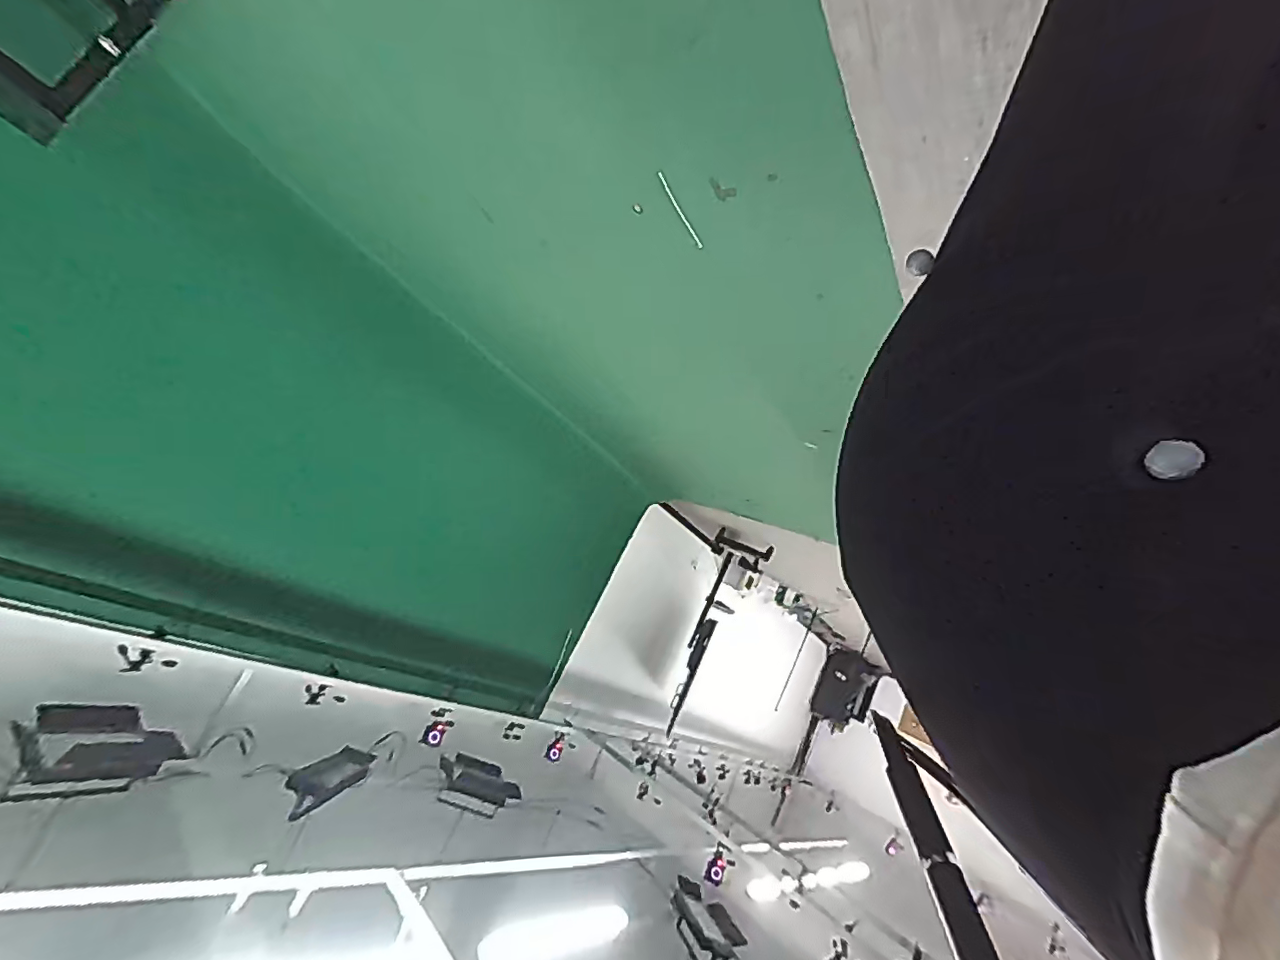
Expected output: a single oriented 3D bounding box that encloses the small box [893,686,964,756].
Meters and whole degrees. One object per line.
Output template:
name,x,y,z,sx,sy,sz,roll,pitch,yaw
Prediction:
small box,0.997,0.823,1.866,0.179,0.176,0.168,15,163,36
